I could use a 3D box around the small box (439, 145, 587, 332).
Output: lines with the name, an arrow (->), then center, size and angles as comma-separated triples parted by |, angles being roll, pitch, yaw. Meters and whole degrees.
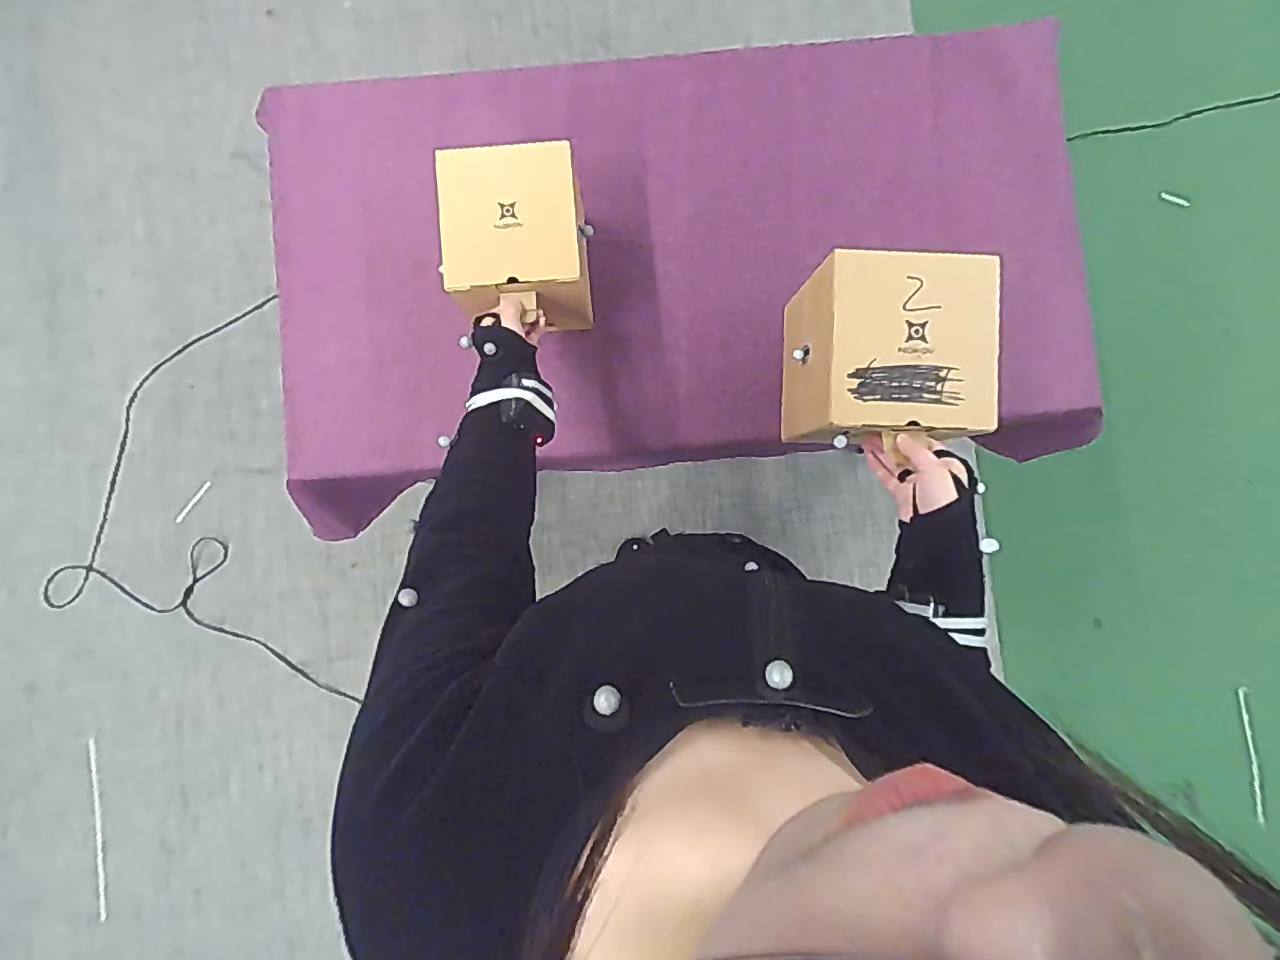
small box -> -0.164, -0.320, 0.744 | 0.168, 0.176, 0.179 | -5, 87, -1
